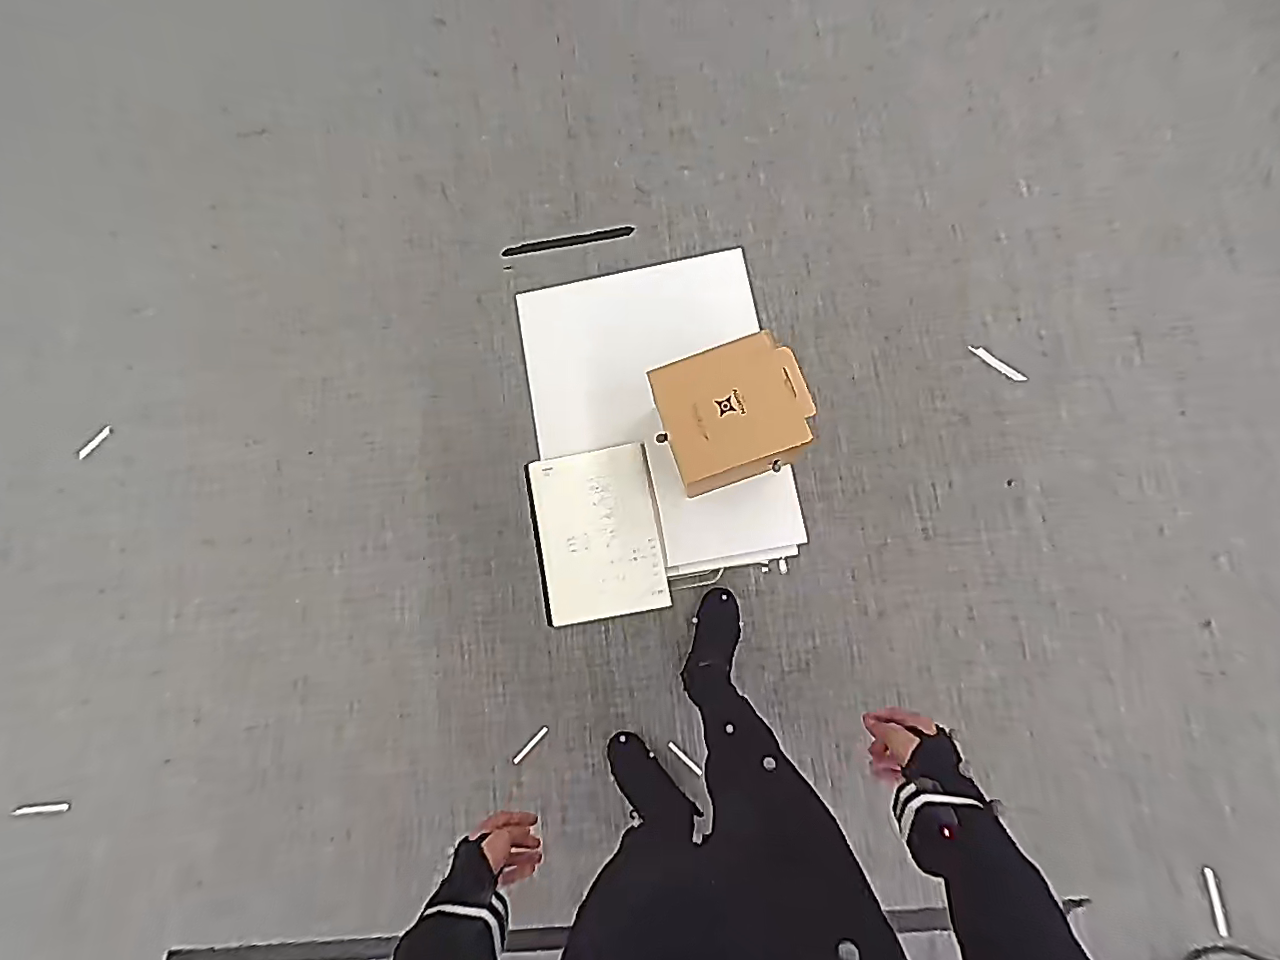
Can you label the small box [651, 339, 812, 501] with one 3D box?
[{"bbox_3d":[0.125,-0.077,0.795,0.179,0.176,0.168,-19,79,2],"label":"small box"}]
